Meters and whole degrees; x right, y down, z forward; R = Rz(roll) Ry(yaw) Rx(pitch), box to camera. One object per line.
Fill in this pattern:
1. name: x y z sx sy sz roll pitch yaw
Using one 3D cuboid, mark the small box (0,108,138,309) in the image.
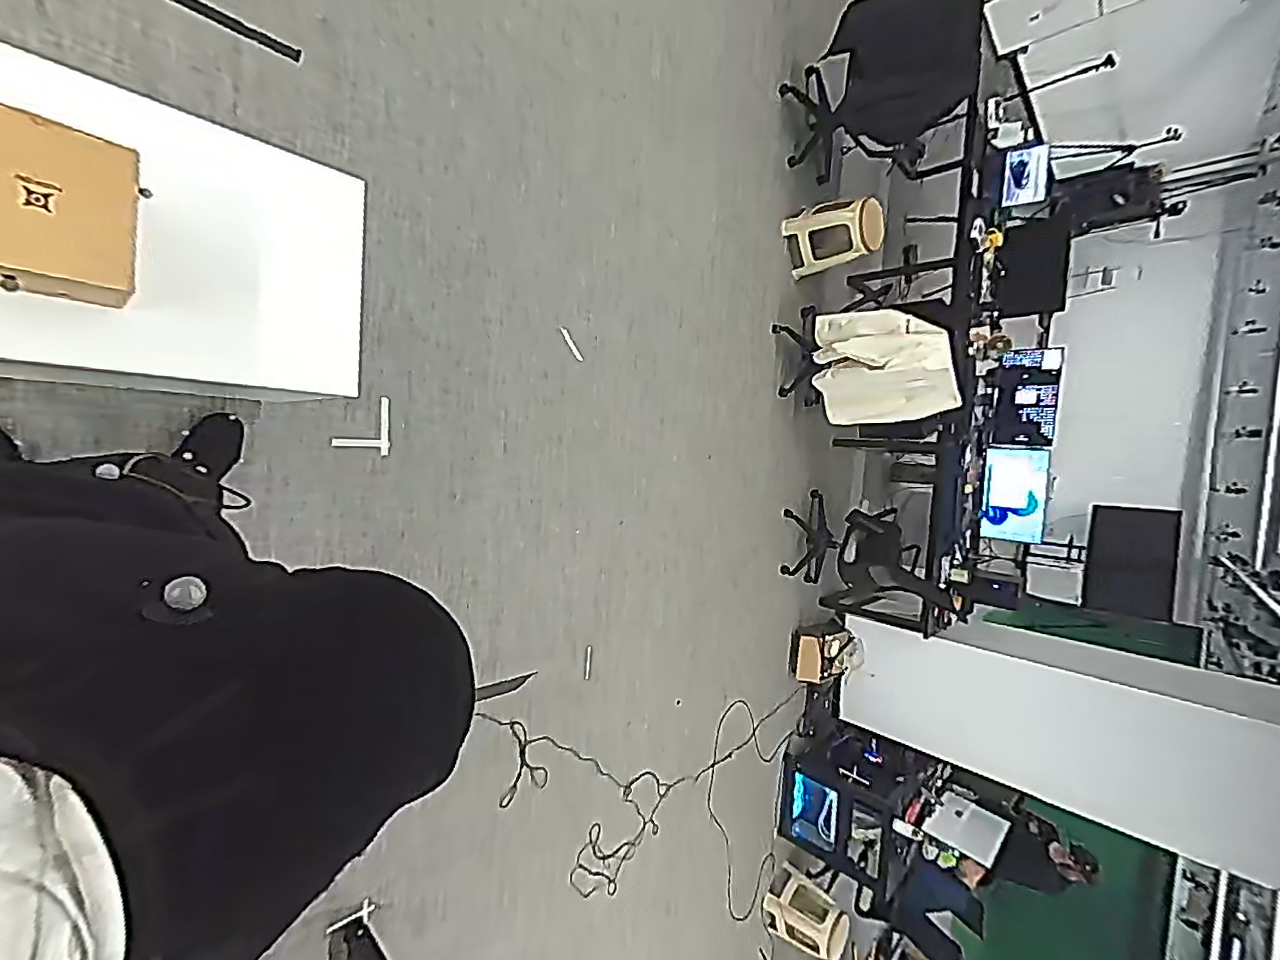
1. small box: -0.733 -0.321 0.660 0.168 0.176 0.179 1 93 -47
